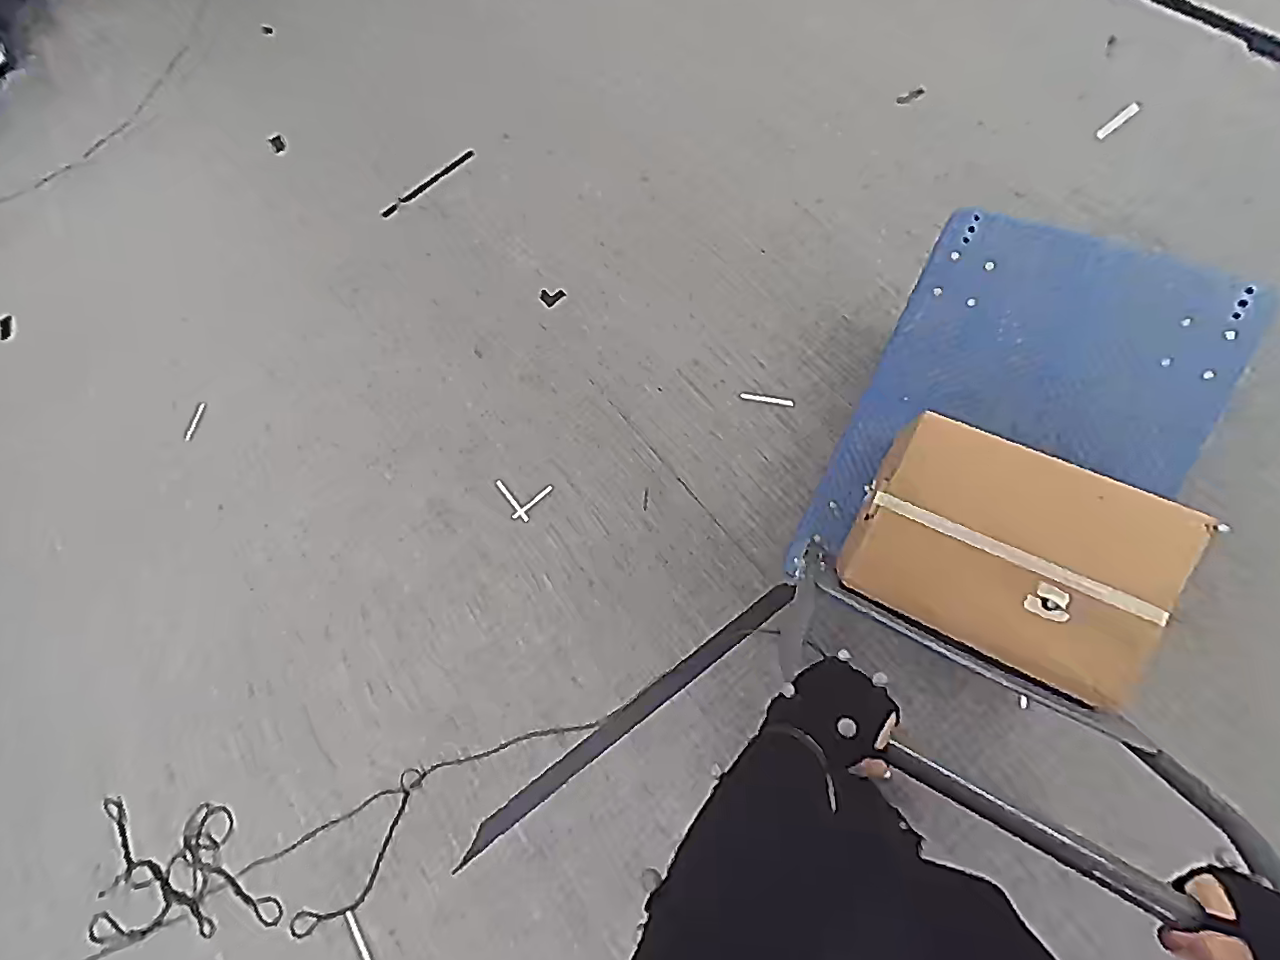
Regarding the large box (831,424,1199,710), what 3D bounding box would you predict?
[{"bbox_3d":[0.603,0.131,0.974,0.408,0.320,0.320,25,95,16],"label":"large box"}]
